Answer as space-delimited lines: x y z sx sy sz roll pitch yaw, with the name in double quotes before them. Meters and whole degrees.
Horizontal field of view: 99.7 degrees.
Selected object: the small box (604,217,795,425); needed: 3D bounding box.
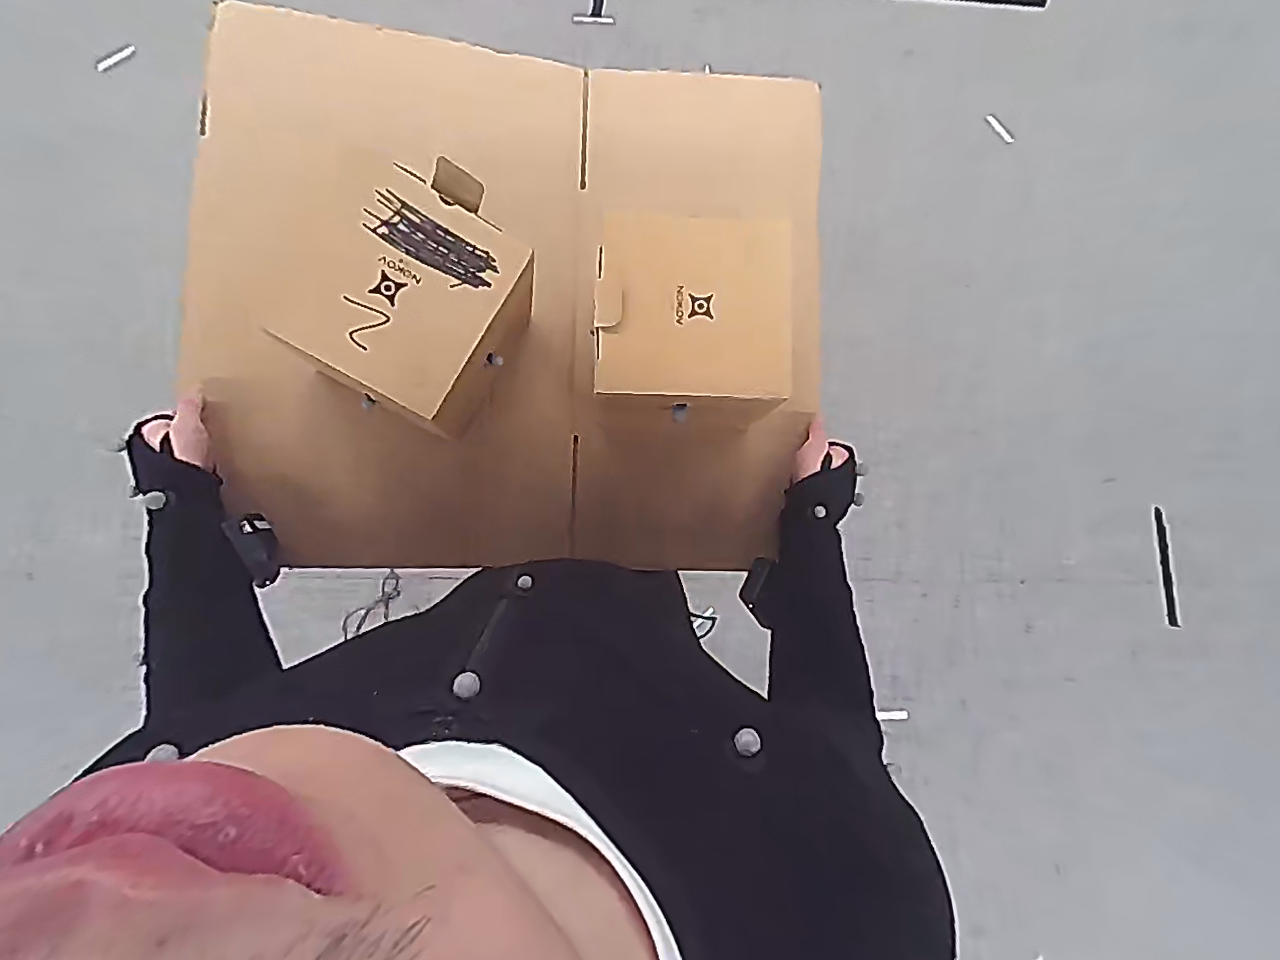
"small box" 0.053 -0.154 0.576 0.179 0.176 0.168 1 86 -1
